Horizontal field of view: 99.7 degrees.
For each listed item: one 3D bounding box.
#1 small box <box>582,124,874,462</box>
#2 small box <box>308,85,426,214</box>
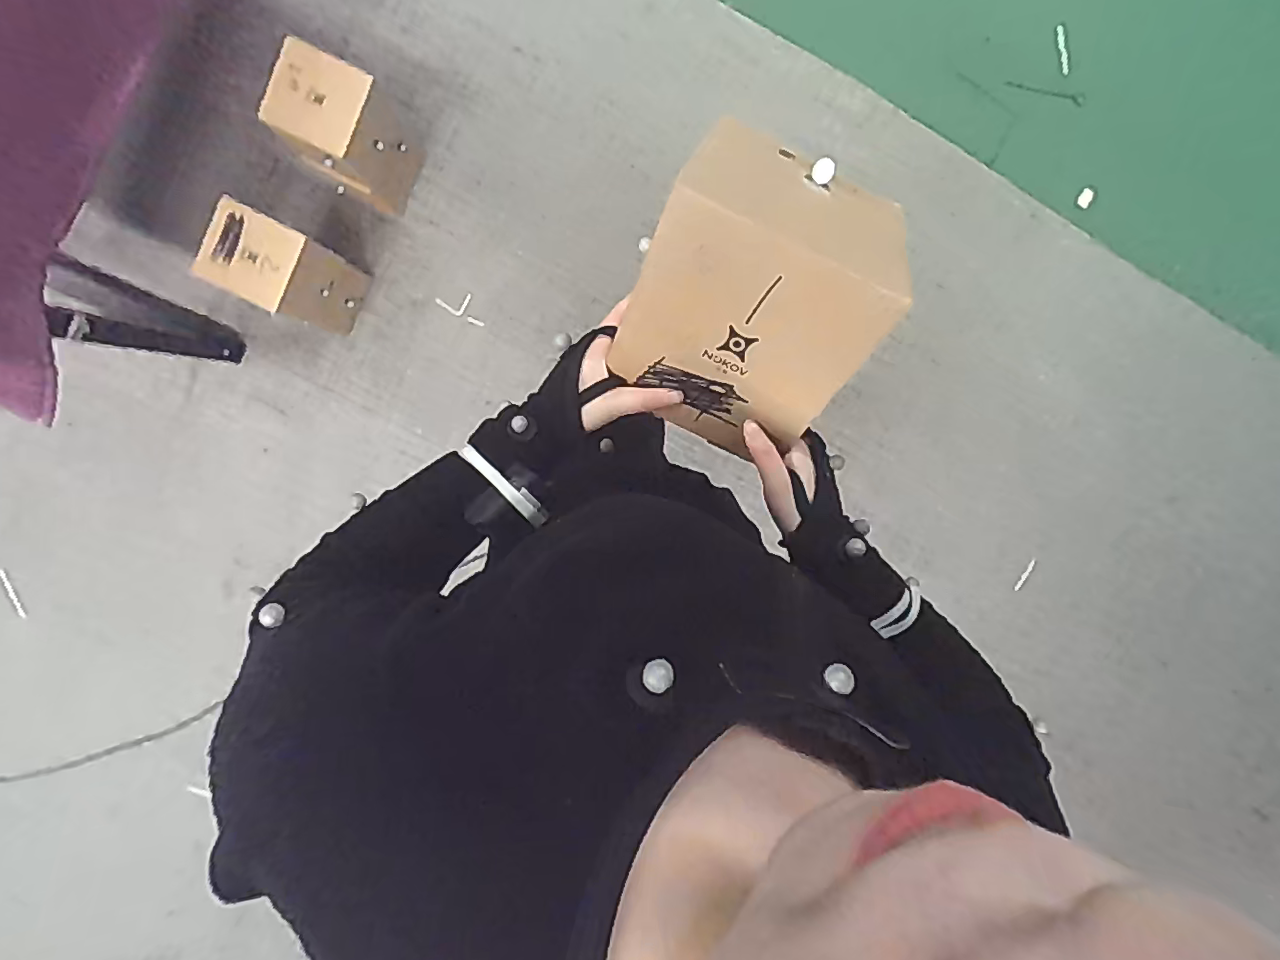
[{"bbox_3d":[0.073,-0.154,0.451,0.168,0.176,0.179,24,138,-4],"label":"small box"},{"bbox_3d":[-0.639,-0.774,1.291,0.168,0.176,0.179,26,95,-5],"label":"small box"}]
